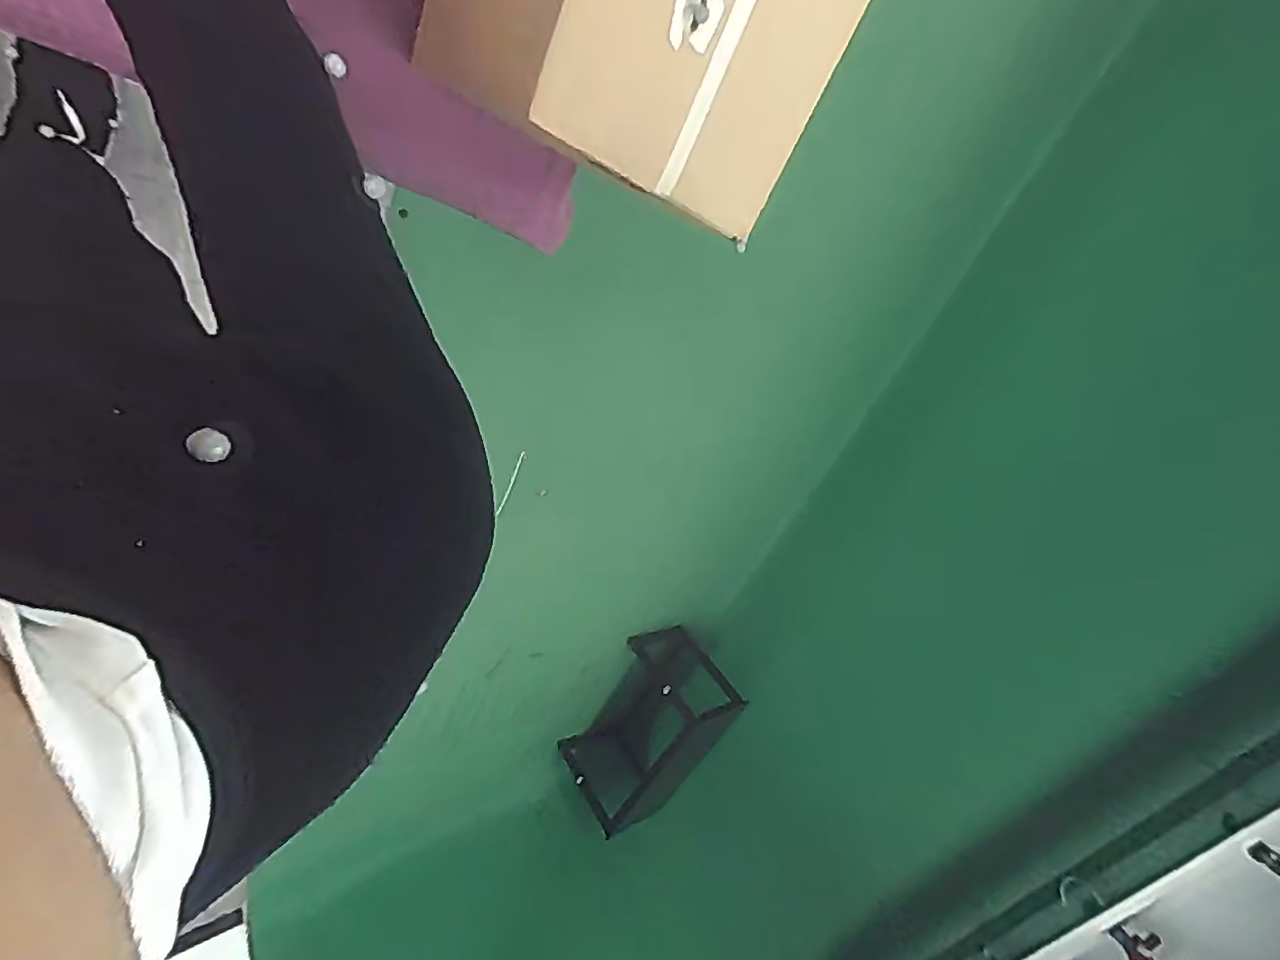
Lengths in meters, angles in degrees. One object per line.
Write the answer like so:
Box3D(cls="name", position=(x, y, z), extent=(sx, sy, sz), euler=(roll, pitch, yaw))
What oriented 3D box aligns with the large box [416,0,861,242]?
Box3D(cls="large box", position=(0.013, -0.541, 0.558), extent=(0.320, 0.320, 0.408), euler=(2, 126, -44))
